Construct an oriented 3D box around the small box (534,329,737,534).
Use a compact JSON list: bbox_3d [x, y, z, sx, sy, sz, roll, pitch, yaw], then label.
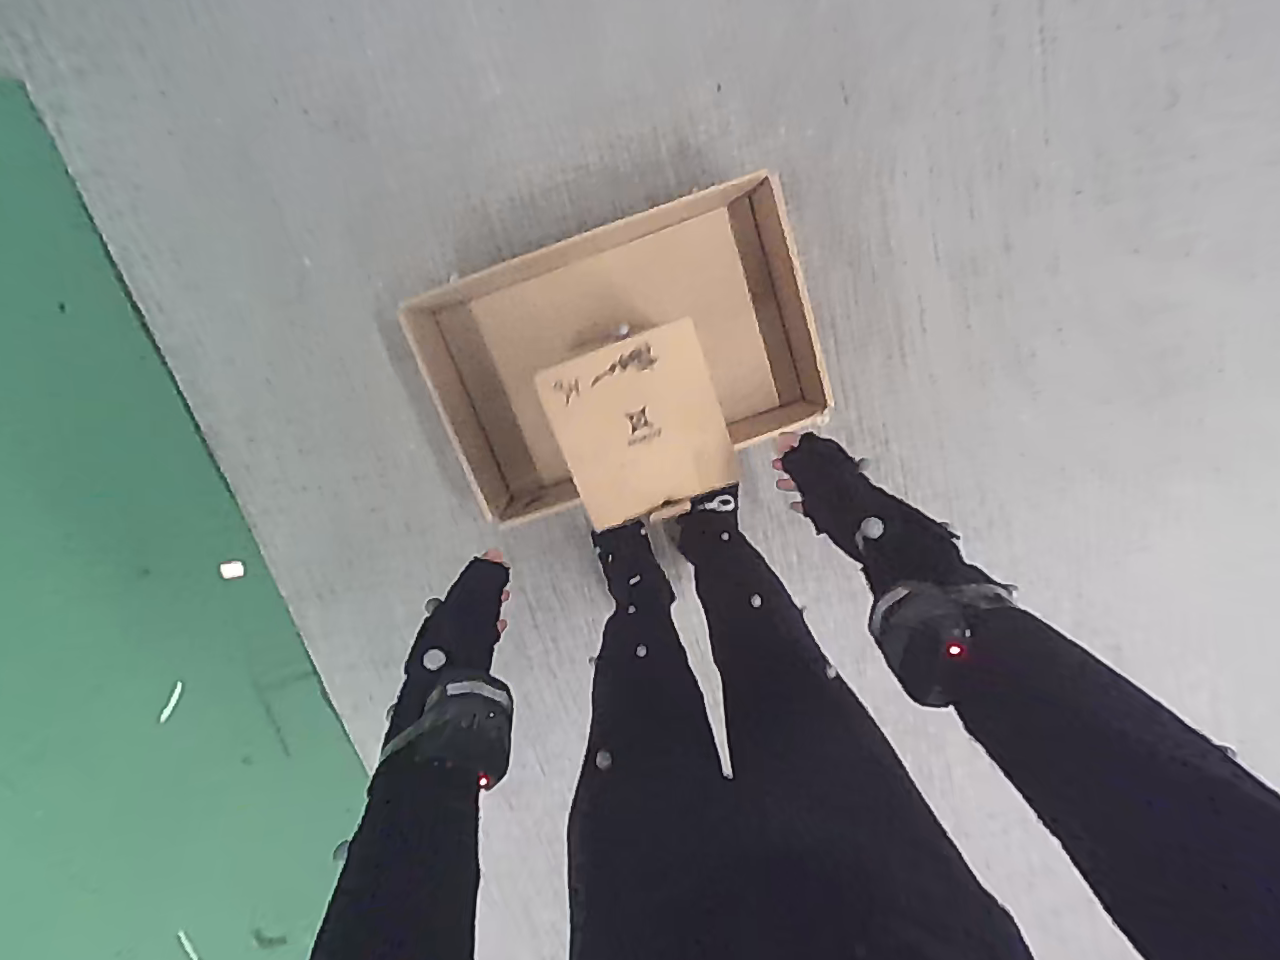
[{"bbox_3d":[-0.003,-0.067,0.628,0.168,0.176,0.179,-20,105,3],"label":"small box"}]
